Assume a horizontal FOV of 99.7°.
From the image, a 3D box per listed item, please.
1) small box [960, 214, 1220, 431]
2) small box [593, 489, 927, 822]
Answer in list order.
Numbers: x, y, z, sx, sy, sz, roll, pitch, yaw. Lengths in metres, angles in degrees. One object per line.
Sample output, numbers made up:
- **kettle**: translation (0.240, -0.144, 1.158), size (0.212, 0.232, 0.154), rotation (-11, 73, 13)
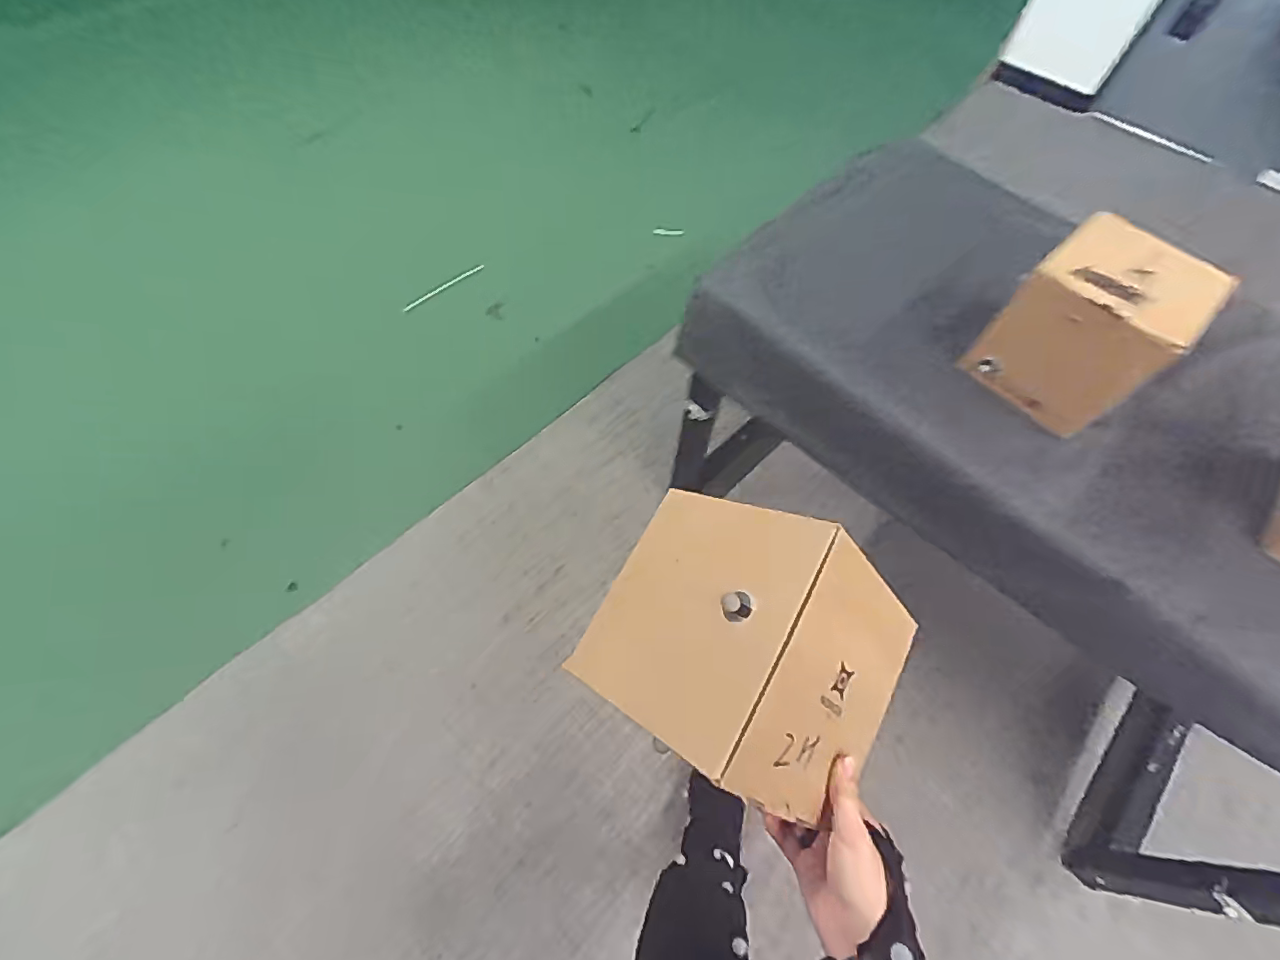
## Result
- **small box**: translation (0.553, -0.194, 0.692), size (0.179, 0.176, 0.168), rotation (-38, 69, -23)
- **small box**: translation (0.093, 0.125, 0.434), size (0.176, 0.168, 0.179), rotation (13, 66, 52)
